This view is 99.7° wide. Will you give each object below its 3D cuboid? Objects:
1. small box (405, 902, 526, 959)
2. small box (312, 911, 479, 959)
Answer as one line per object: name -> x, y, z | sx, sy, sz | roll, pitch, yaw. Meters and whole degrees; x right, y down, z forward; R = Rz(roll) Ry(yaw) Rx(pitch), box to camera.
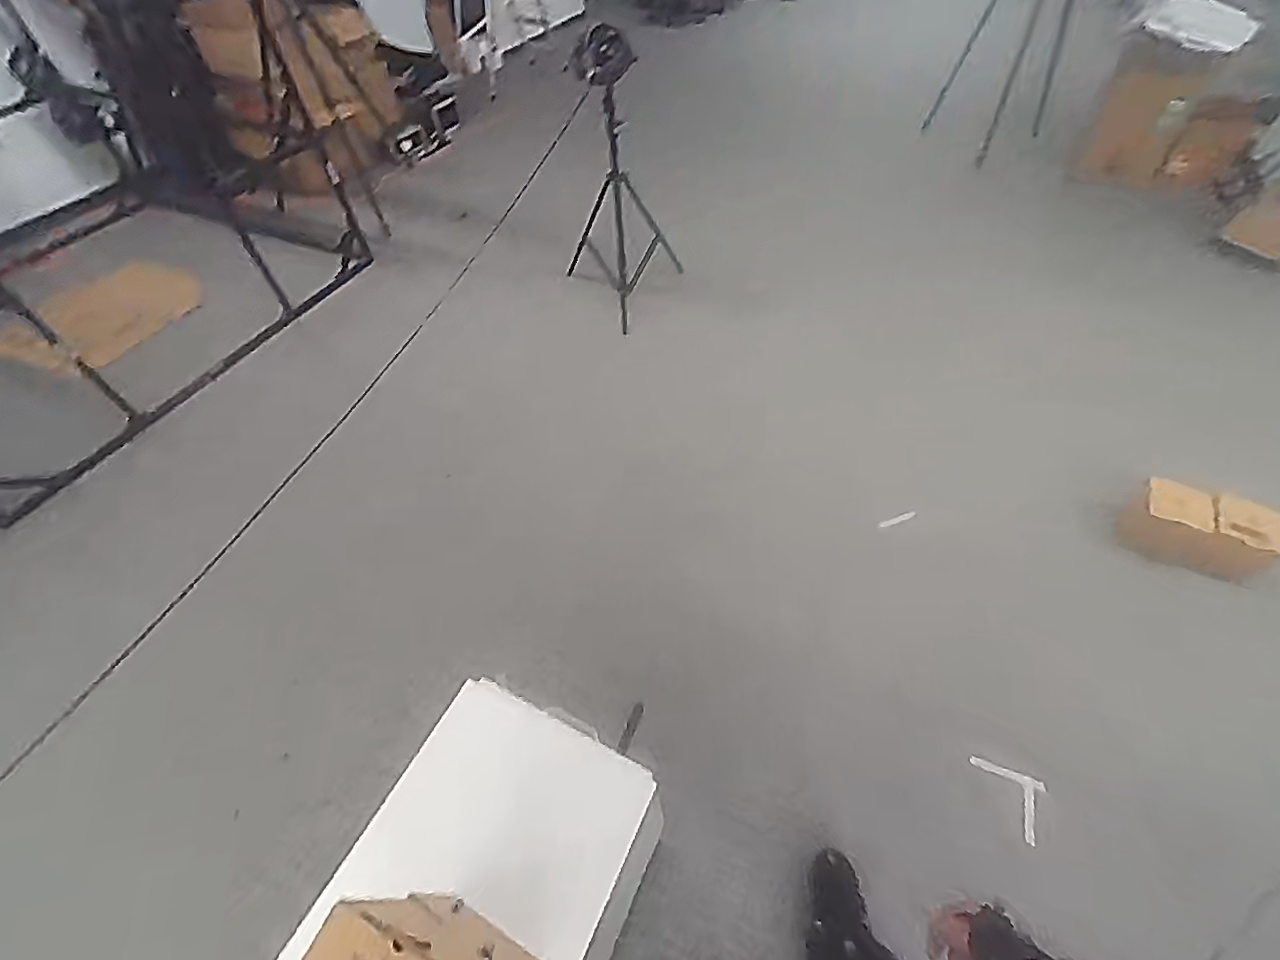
small box -> -0.243, 0.667, 0.671 | 0.179, 0.176, 0.168 | 20, 56, 20
small box -> -0.256, 0.570, 0.540 | 0.168, 0.176, 0.179 | 16, 56, 18
